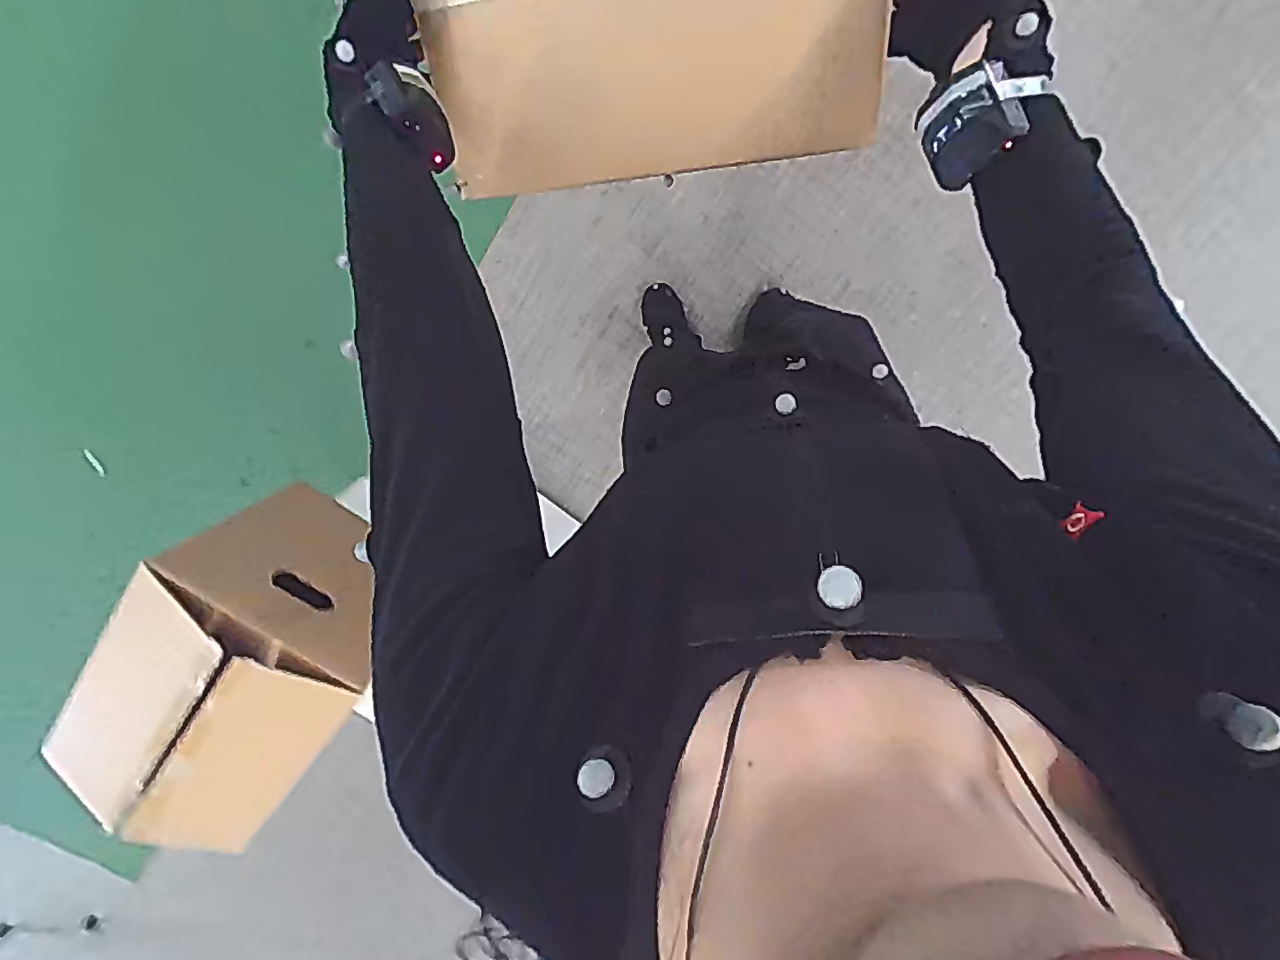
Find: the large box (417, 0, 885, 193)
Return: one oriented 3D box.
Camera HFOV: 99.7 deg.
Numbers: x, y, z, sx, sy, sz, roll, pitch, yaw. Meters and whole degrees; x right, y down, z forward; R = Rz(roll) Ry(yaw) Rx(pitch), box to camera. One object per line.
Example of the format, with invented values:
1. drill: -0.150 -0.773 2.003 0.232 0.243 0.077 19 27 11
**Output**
1. large box: 0.016 -0.513 0.568 0.408 0.320 0.320 -2 121 9
